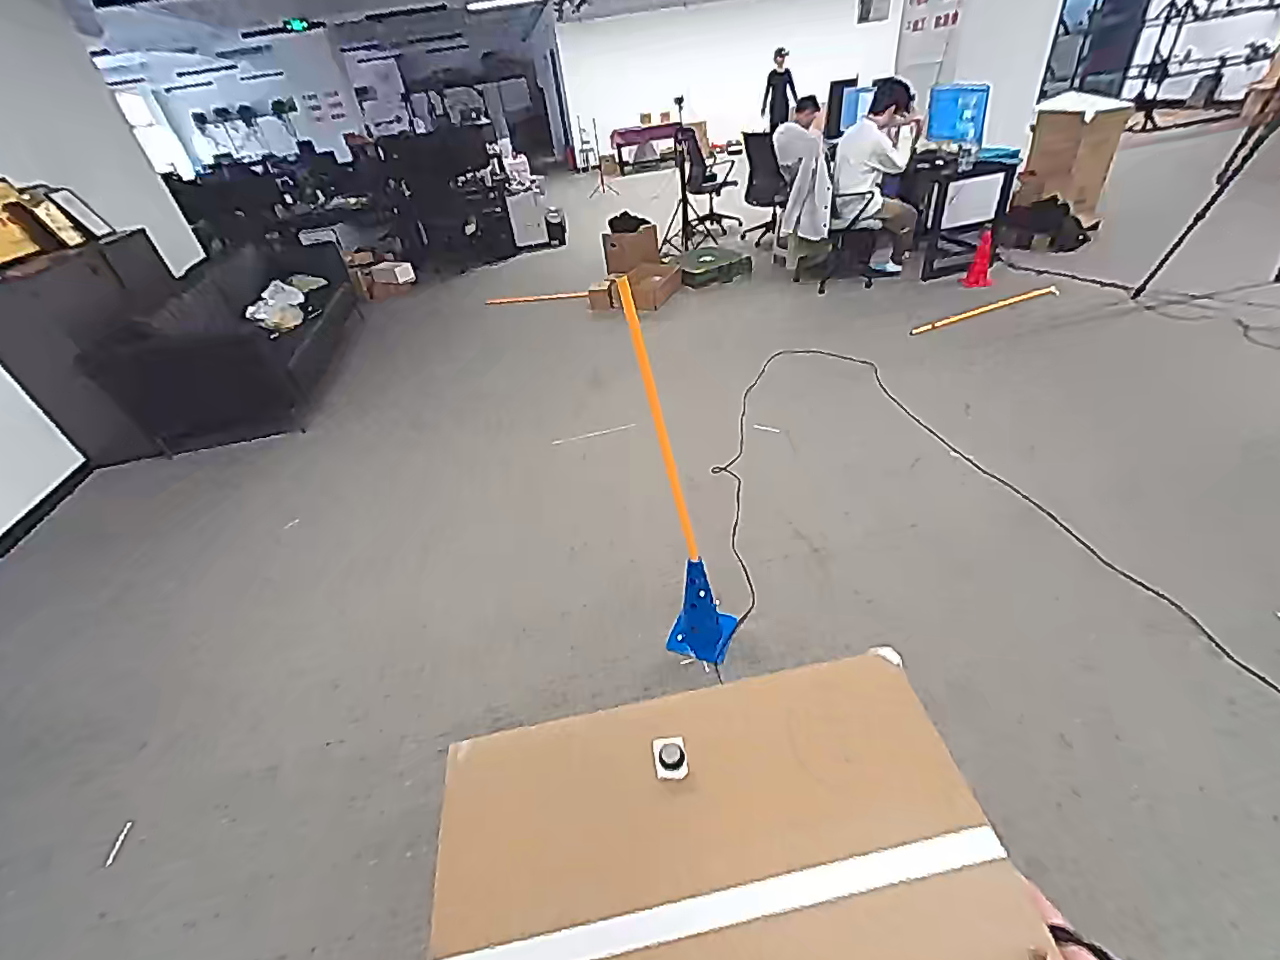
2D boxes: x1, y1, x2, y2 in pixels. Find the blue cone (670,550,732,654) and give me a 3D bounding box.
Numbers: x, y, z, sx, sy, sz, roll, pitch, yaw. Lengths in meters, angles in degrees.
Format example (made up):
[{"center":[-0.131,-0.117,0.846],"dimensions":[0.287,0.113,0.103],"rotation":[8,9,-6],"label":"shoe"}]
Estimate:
[{"center":[0.185,0.369,1.728],"dimensions":[0.192,0.380,0.193],"rotation":[7,40,21],"label":"blue cone"}]
